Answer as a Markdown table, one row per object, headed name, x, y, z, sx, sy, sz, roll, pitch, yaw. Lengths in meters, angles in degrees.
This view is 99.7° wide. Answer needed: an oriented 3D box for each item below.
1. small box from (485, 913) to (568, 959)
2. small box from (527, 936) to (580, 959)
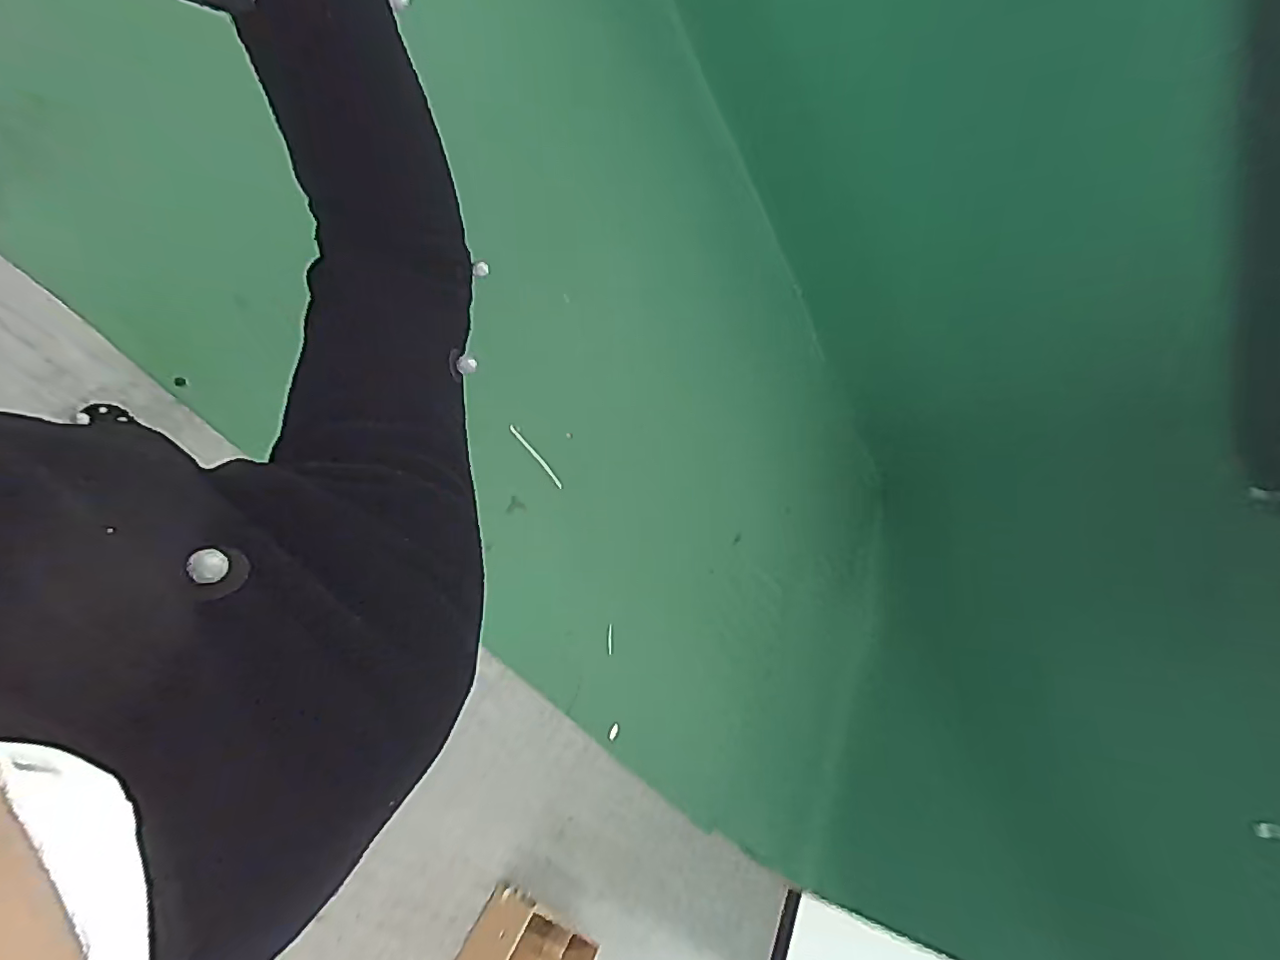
| name | x | y | z | sx | sy | sz | roll | pitch | yaw |
| --- | --- | --- | --- | --- | --- | --- | --- | --- | --- |
| small box | -0.372 | 1.548 | 1.747 | 0.179 | 0.176 | 0.168 | 53 | 54 | -30 |
| small box | -0.250 | 1.537 | 1.637 | 0.168 | 0.176 | 0.179 | -54 | 124 | -36 |
